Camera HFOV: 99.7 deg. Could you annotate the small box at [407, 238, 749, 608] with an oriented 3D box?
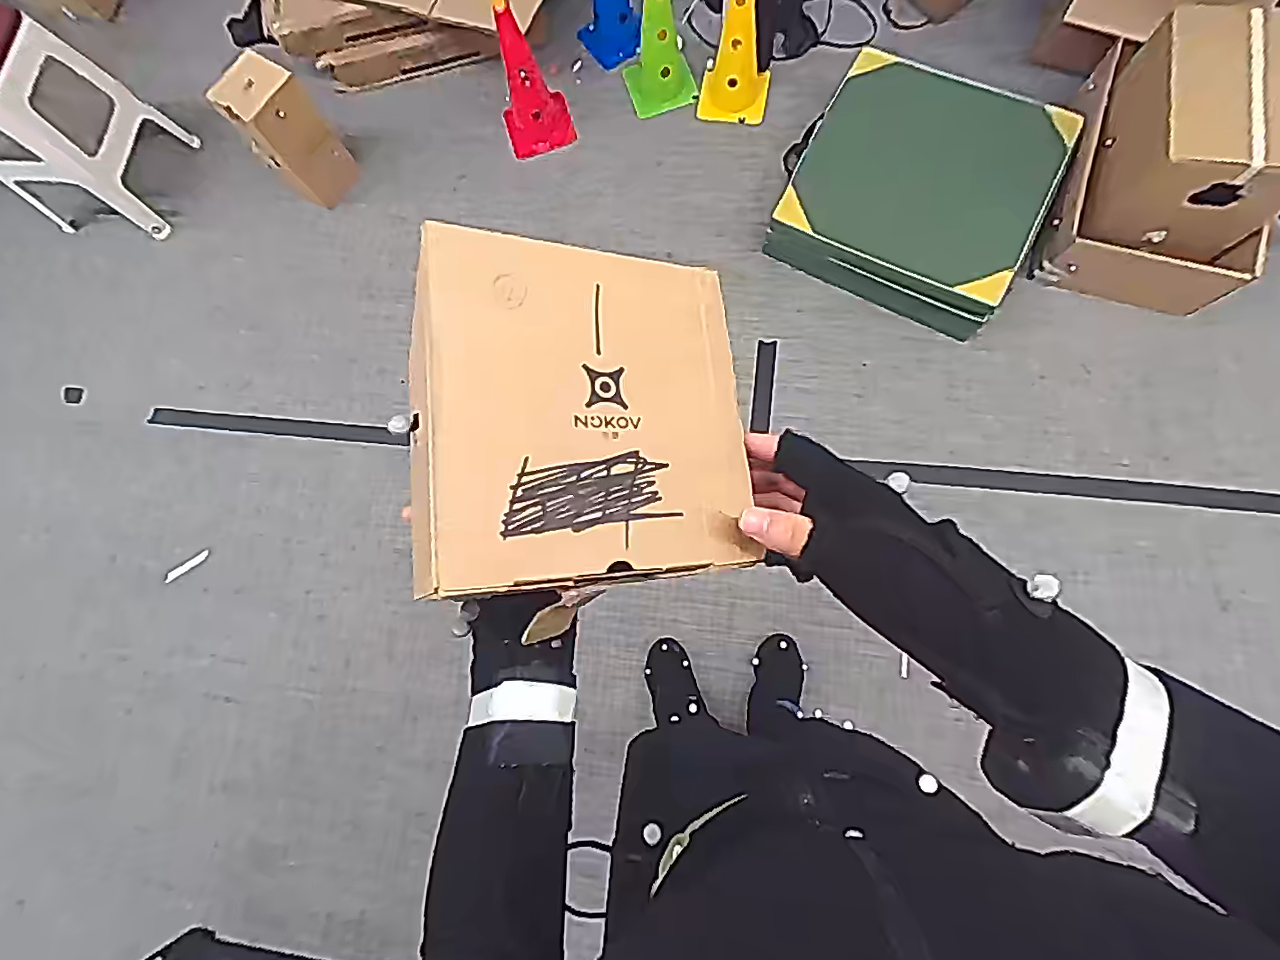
[{"bbox_3d":[-0.056,-0.015,0.345,0.168,0.176,0.179,-1,77,-25],"label":"small box"}]
